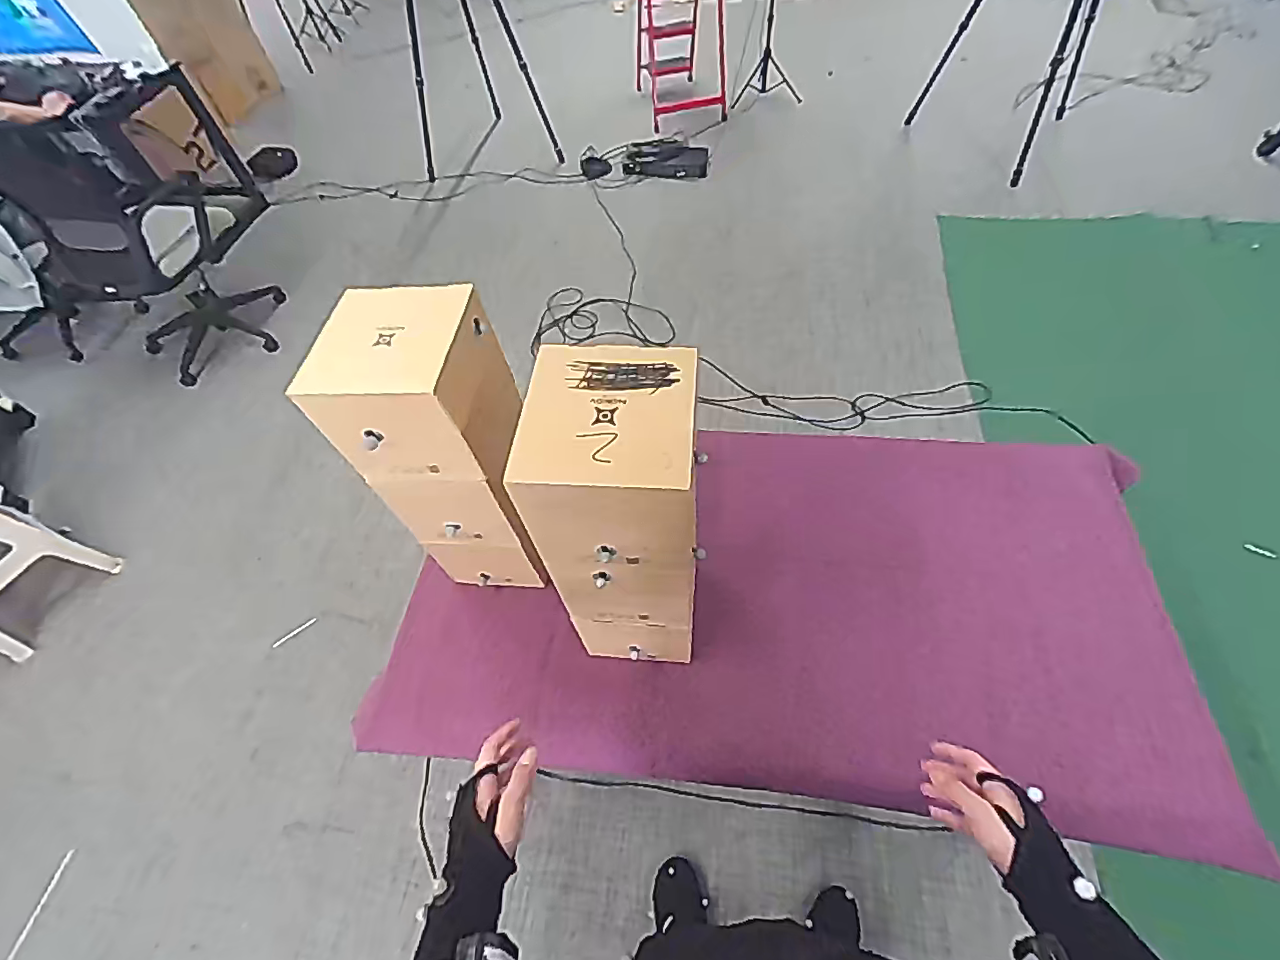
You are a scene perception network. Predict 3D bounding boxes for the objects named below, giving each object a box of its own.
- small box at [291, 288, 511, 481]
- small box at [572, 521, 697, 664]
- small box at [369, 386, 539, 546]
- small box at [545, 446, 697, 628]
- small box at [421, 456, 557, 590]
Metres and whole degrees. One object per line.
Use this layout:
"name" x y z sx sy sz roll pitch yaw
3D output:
"small box" -0.273 -0.111 0.669 0.168 0.176 0.179 0 55 7
"small box" 0.001 0.170 0.845 0.168 0.176 0.179 2 57 8
"small box" -0.258 -0.020 0.803 0.168 0.176 0.179 1 57 7
"small box" -0.012 0.076 0.711 0.168 0.176 0.179 2 55 8
"small box" -0.246 0.073 0.937 0.168 0.176 0.179 1 57 7
